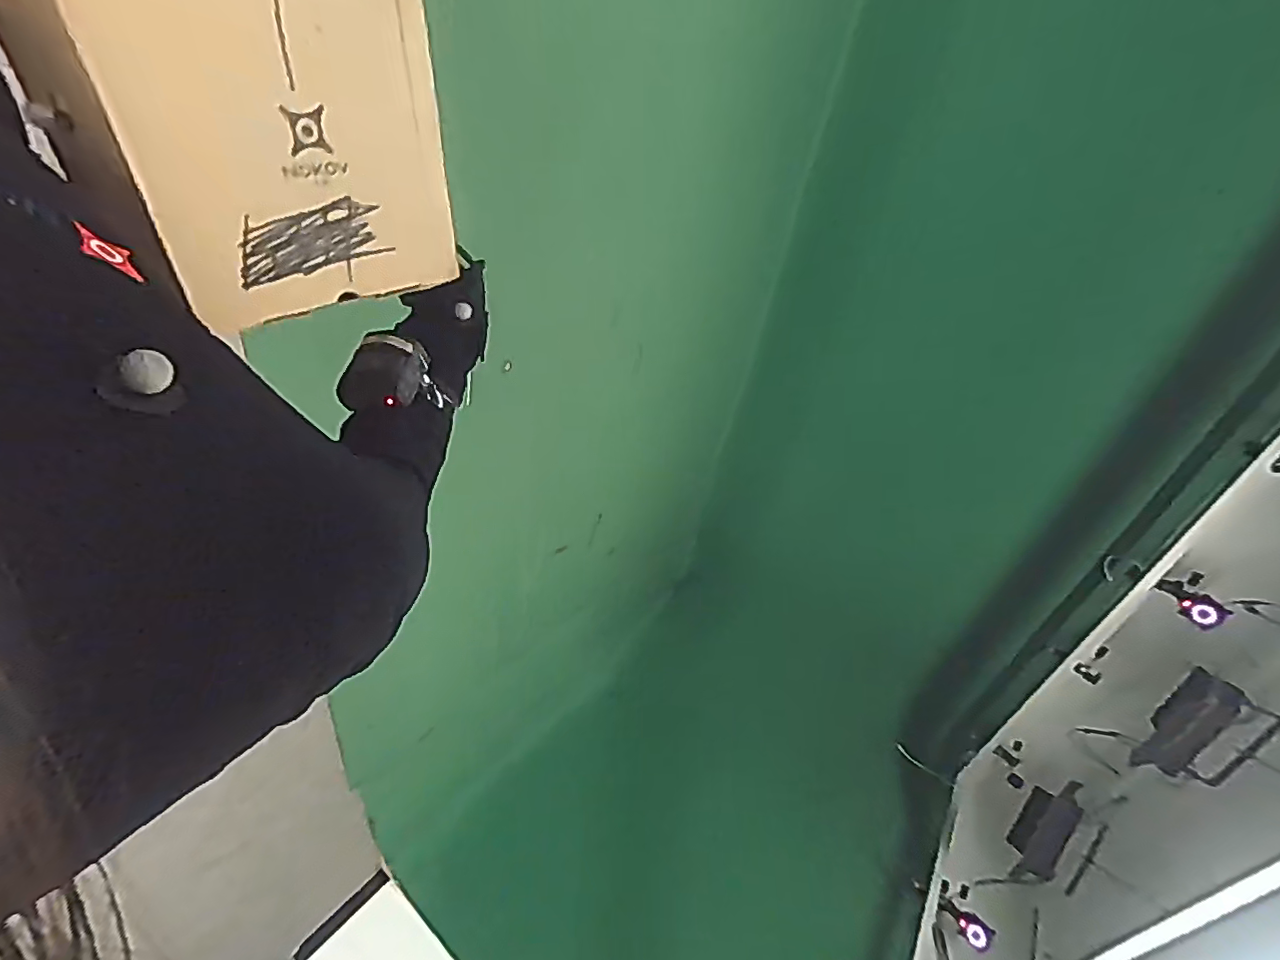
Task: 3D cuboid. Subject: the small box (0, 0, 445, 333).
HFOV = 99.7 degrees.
[{"bbox_3d":[-0.250,-0.217,0.335,0.168,0.176,0.179,-35,143,-41],"label":"small box"}]
